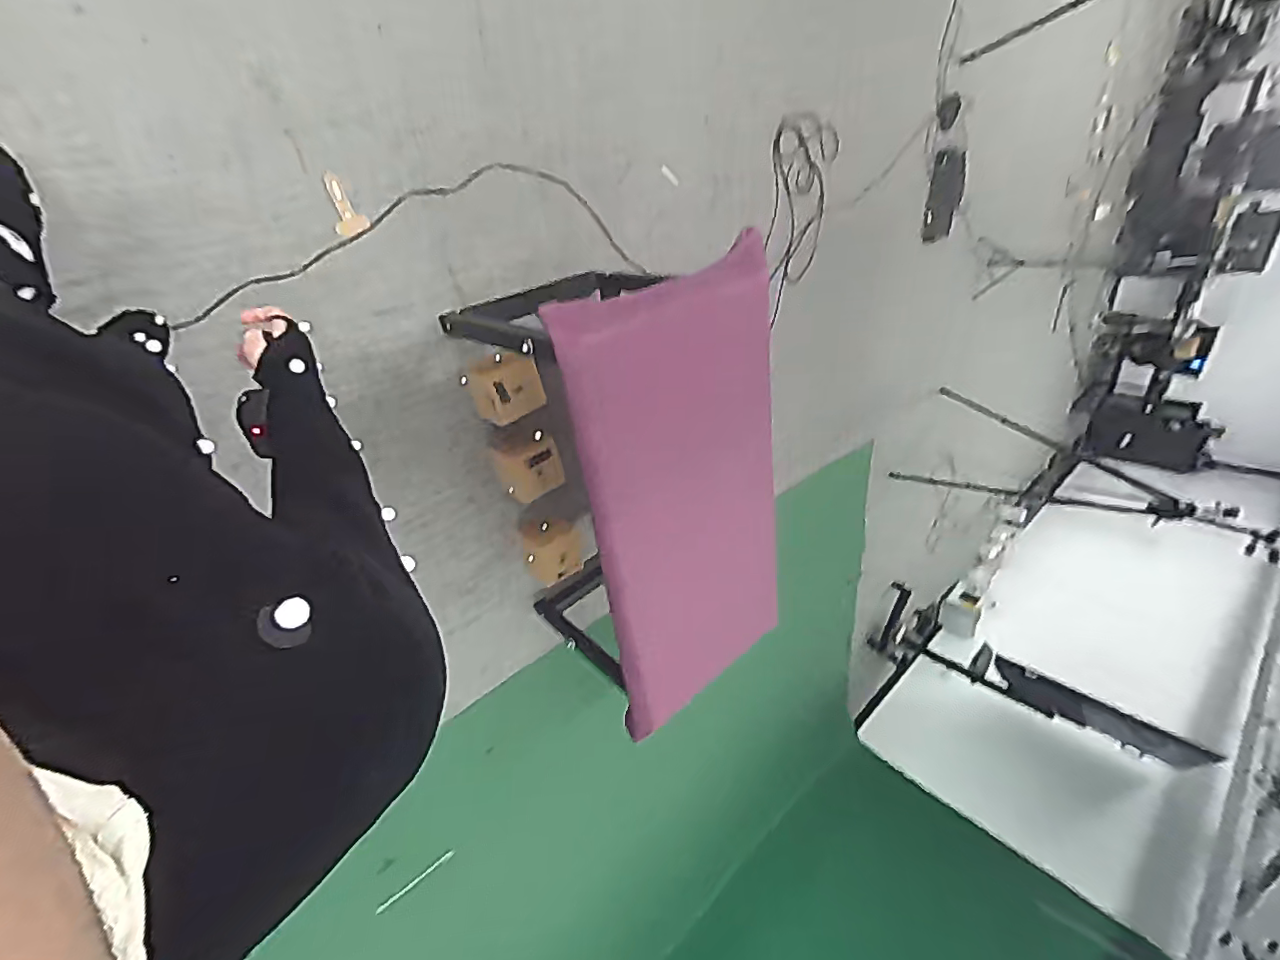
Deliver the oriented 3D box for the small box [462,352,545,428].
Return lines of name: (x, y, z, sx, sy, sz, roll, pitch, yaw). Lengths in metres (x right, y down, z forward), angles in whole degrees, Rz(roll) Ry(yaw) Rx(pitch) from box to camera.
small box: (-0.426, -0.284, 1.670, 0.179, 0.176, 0.168, -33, 127, -29)

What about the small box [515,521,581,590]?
small box: (-0.341, 0.268, 1.983, 0.168, 0.176, 0.179, -26, 123, -33)
